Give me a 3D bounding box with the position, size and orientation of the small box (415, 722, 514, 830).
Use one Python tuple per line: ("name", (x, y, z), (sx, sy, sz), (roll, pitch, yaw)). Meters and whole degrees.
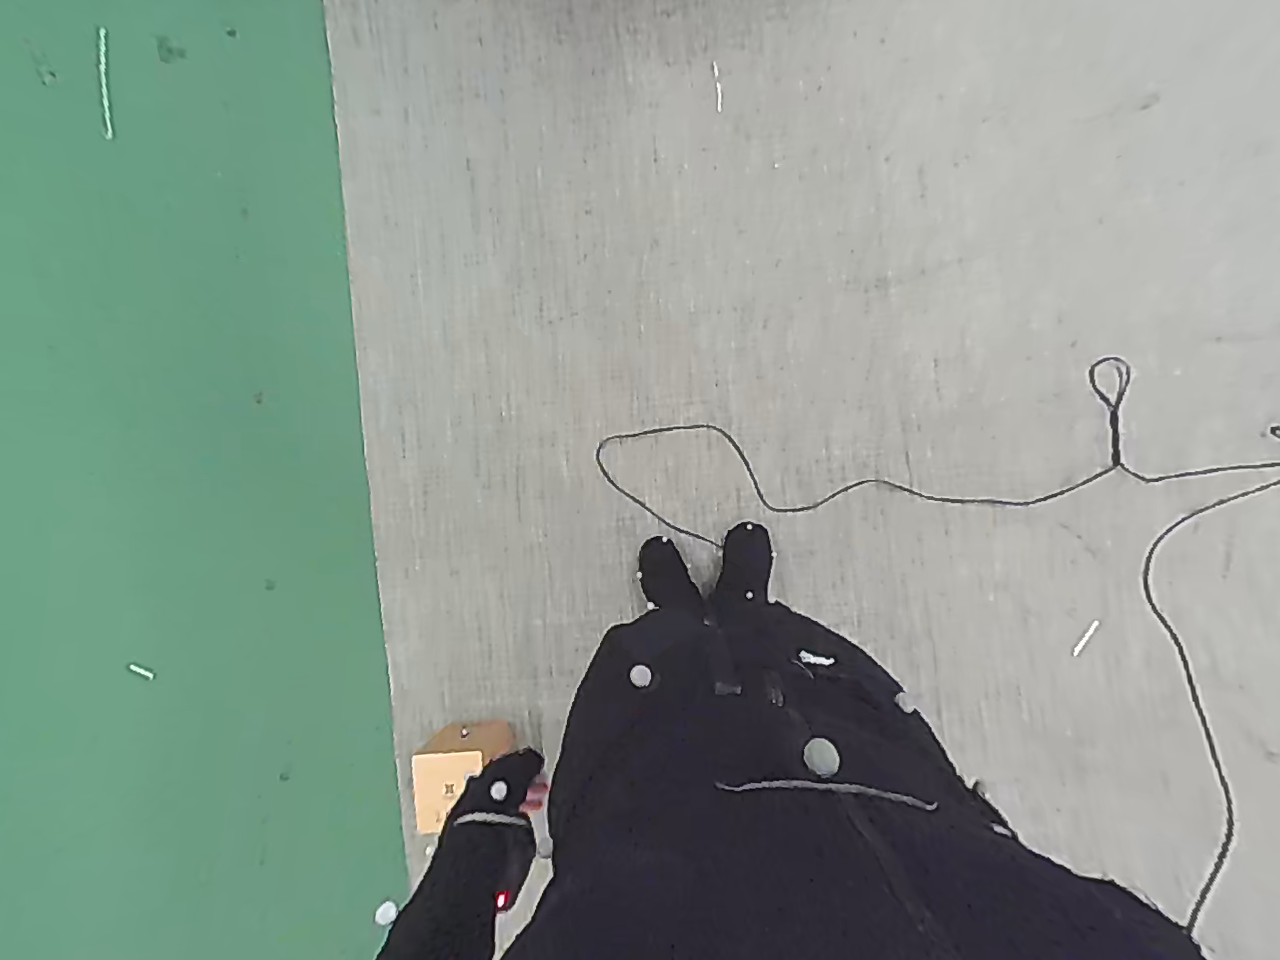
("small box", (-0.406, 0.686, 1.272), (0.168, 0.176, 0.179), (-6, 88, 7))
